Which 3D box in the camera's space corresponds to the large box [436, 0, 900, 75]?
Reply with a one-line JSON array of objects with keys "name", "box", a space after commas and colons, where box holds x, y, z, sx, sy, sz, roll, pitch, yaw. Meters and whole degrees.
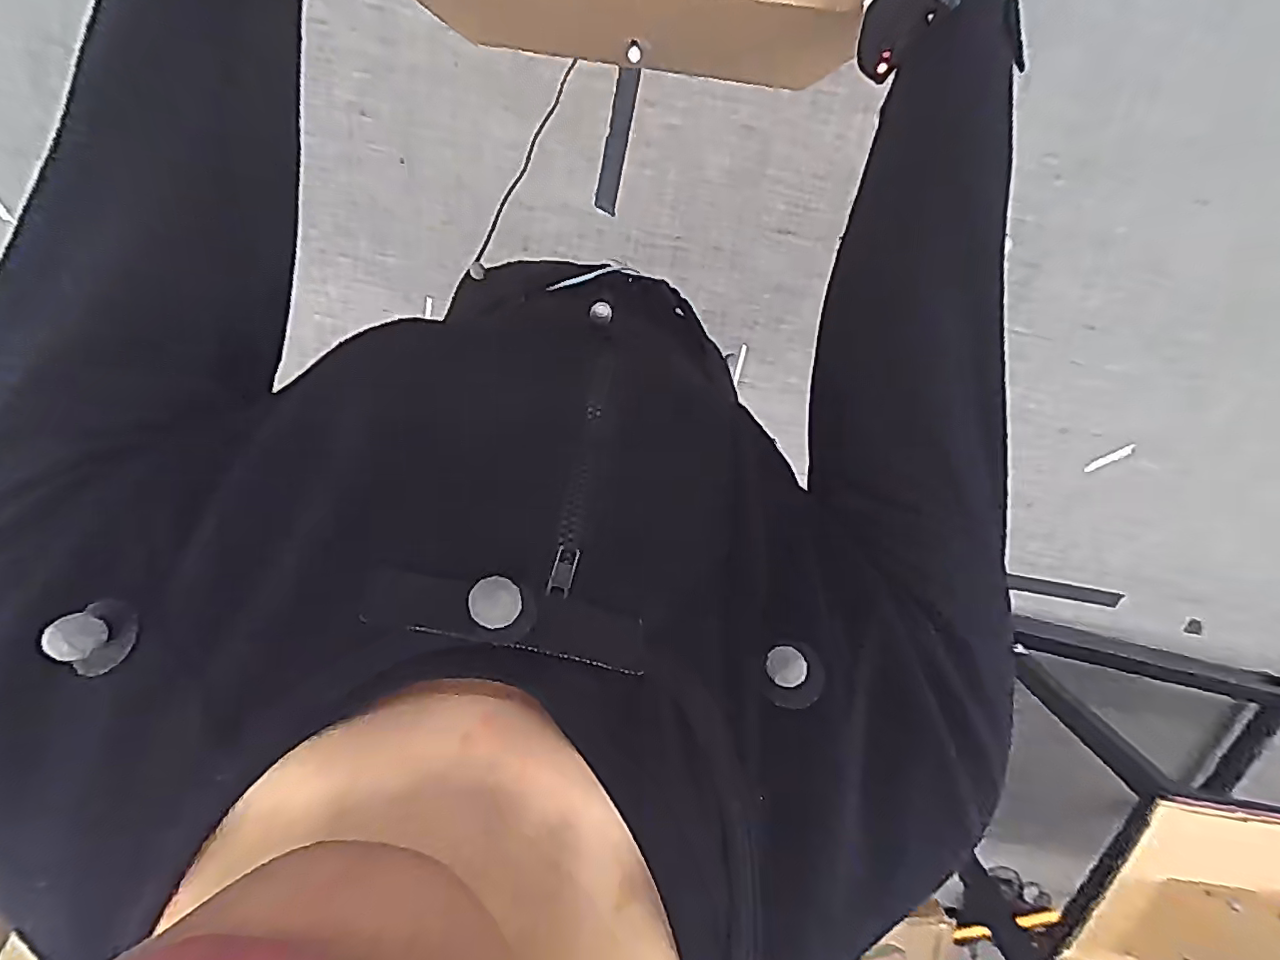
[{"name": "large box", "box": [0.014, -0.561, 0.439, 0.408, 0.320, 0.320, 7, 117, -2]}]
